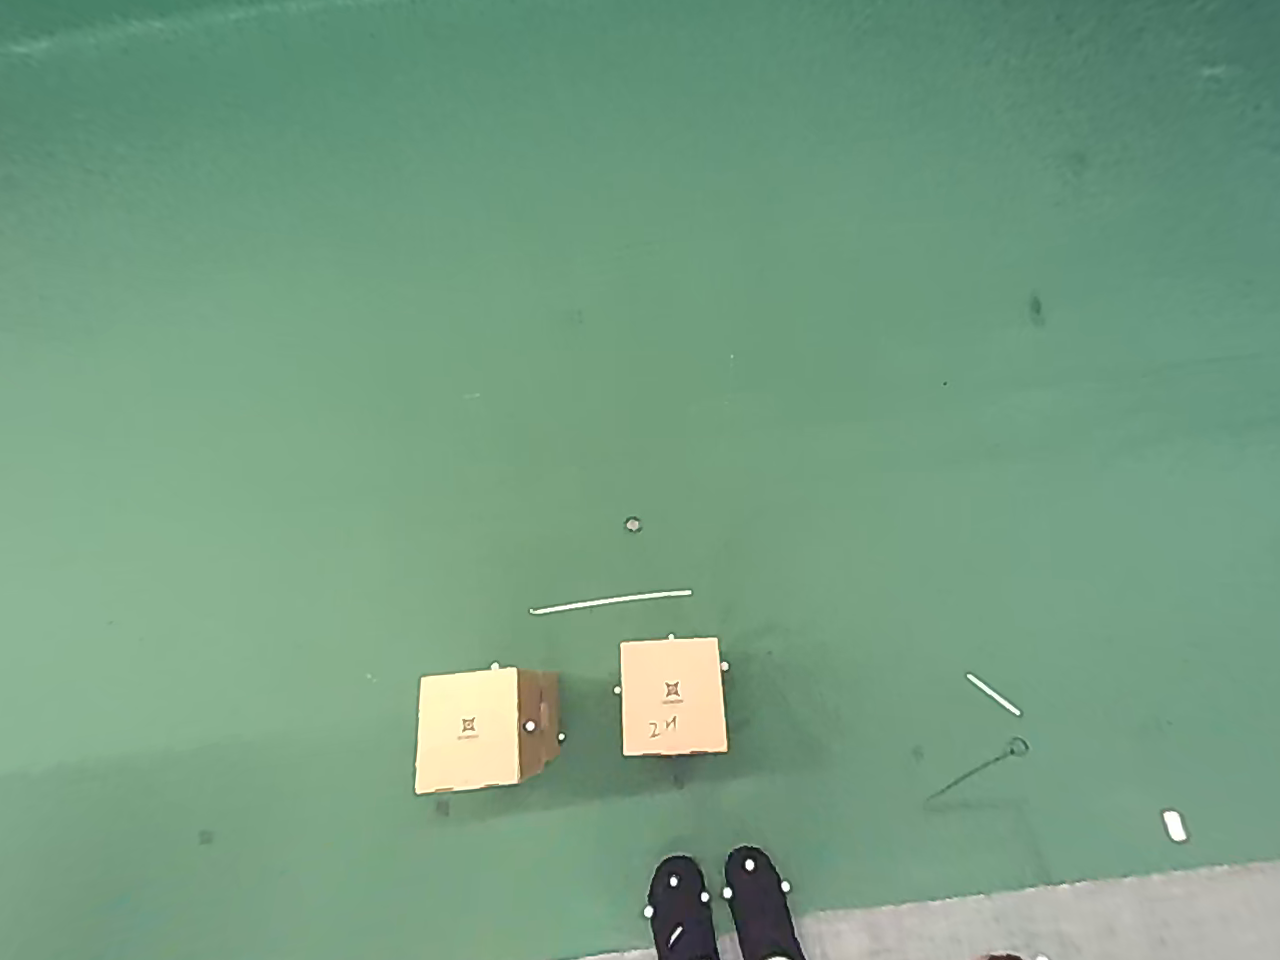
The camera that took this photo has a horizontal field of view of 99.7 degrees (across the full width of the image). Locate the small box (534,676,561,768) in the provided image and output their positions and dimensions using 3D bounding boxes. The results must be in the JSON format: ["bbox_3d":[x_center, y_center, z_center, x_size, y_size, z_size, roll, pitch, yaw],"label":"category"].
[{"bbox_3d":[-0.261,0.493,1.104,0.179,0.176,0.168,-7,69,2],"label":"small box"}]

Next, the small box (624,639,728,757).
[{"bbox_3d":[0.059,0.380,0.951,0.168,0.176,0.179,-3,69,2],"label":"small box"}]

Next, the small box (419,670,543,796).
[{"bbox_3d":[-0.270,0.438,0.951,0.168,0.176,0.179,-7,69,1],"label":"small box"}]
